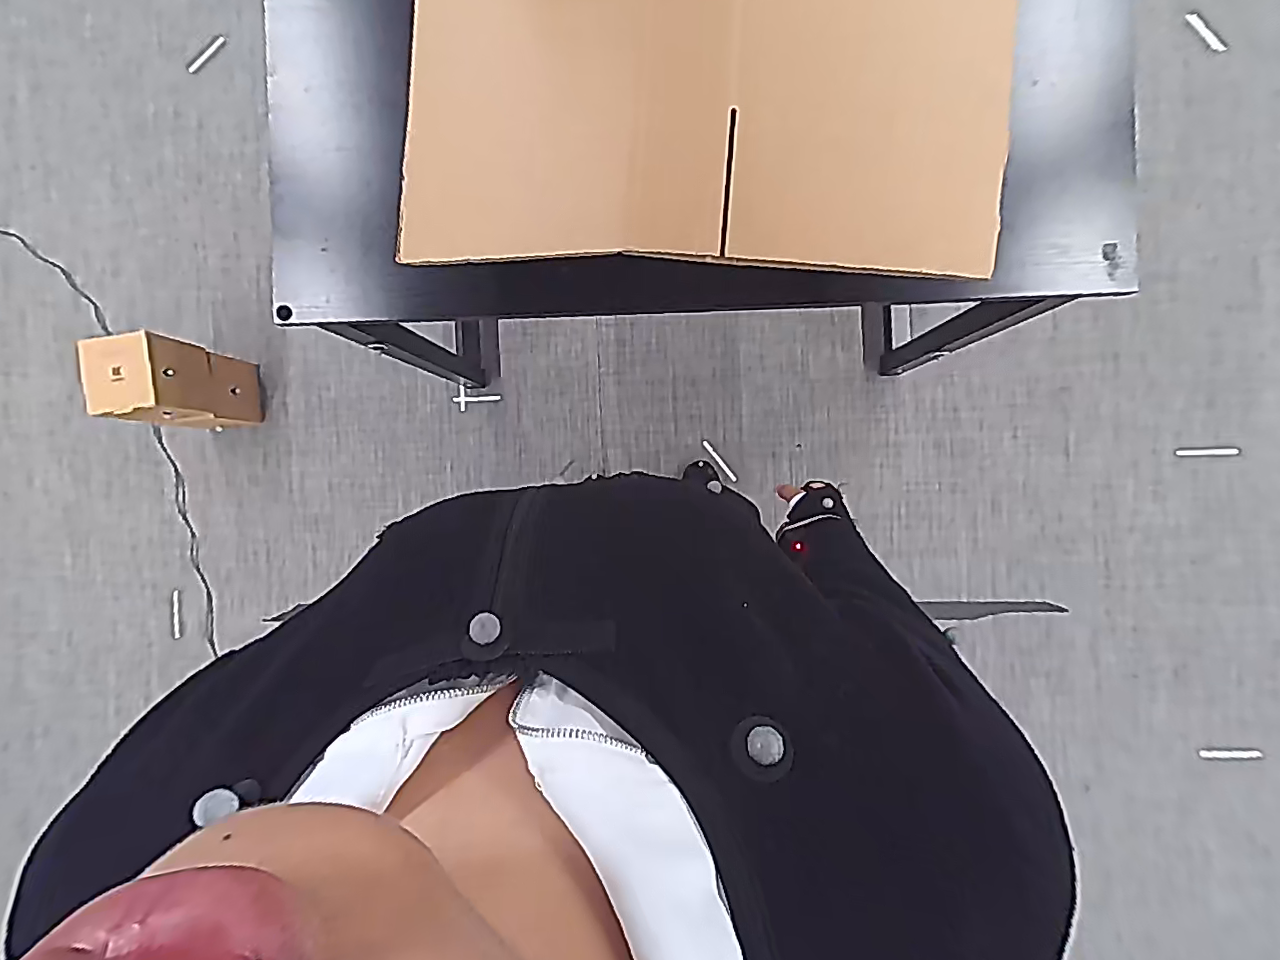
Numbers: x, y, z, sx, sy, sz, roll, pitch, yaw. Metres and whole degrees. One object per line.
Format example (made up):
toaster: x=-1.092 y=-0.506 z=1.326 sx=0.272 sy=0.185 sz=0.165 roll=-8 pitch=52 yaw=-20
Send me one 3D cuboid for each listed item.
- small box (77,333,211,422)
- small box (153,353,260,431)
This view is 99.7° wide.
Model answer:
small box: x=-1.184 y=-0.238 z=1.304 sx=0.168 sy=0.176 sz=0.179 roll=-8 pitch=89 yaw=2
small box: x=-1.174 y=-0.233 z=1.467 sx=0.168 sy=0.176 sz=0.179 roll=-5 pitch=91 yaw=3
